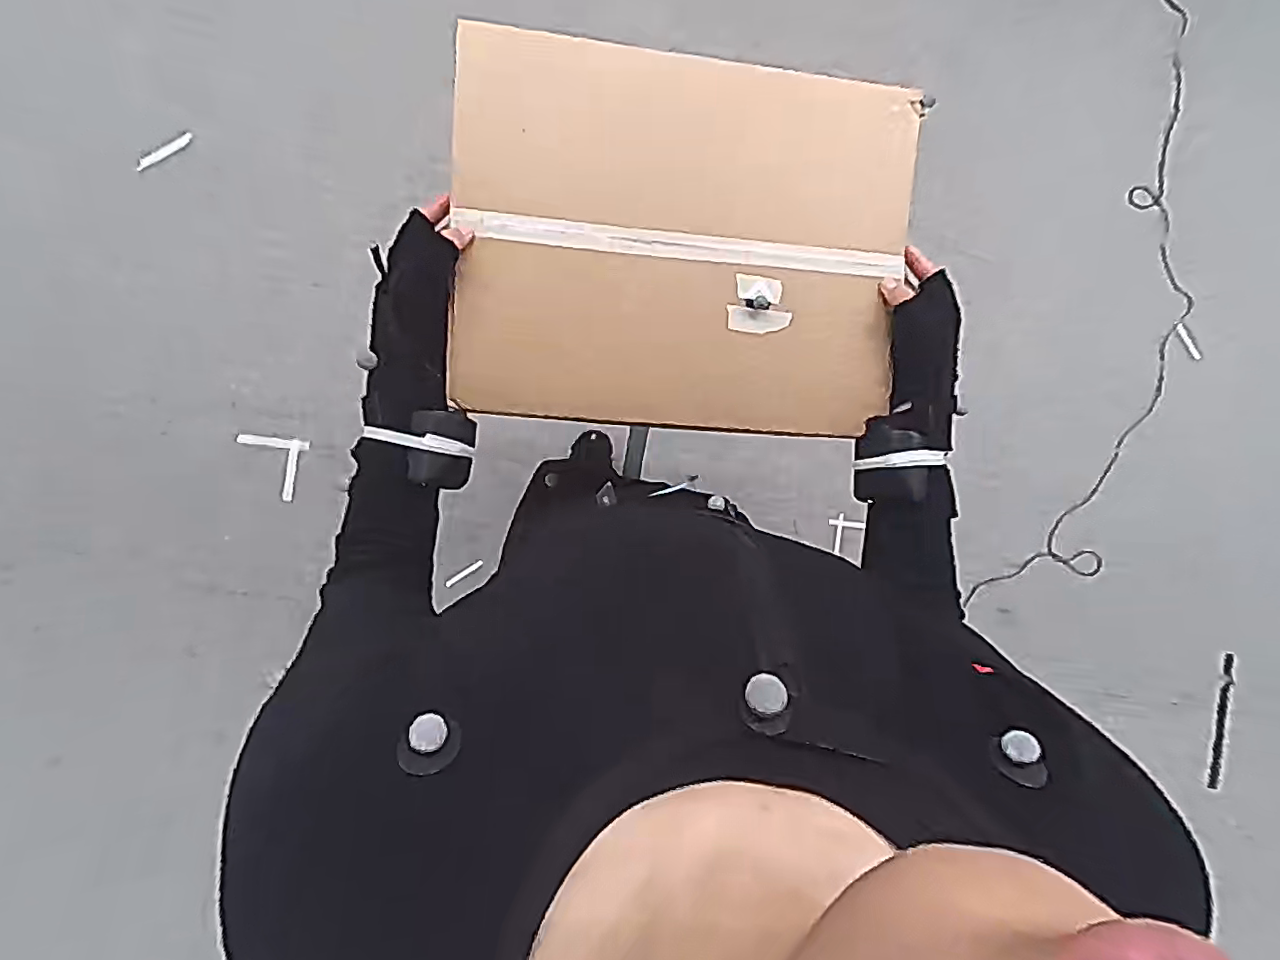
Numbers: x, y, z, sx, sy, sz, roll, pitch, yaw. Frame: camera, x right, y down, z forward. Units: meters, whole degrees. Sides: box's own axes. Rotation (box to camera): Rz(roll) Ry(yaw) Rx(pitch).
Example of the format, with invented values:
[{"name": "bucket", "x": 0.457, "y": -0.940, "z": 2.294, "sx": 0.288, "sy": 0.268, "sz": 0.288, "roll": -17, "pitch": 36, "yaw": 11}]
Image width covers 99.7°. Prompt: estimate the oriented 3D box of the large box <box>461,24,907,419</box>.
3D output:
[{"name": "large box", "x": 0.023, "y": -0.237, "z": 0.636, "sx": 0.408, "sy": 0.320, "sz": 0.320, "roll": 3, "pitch": 97, "yaw": -8}]
